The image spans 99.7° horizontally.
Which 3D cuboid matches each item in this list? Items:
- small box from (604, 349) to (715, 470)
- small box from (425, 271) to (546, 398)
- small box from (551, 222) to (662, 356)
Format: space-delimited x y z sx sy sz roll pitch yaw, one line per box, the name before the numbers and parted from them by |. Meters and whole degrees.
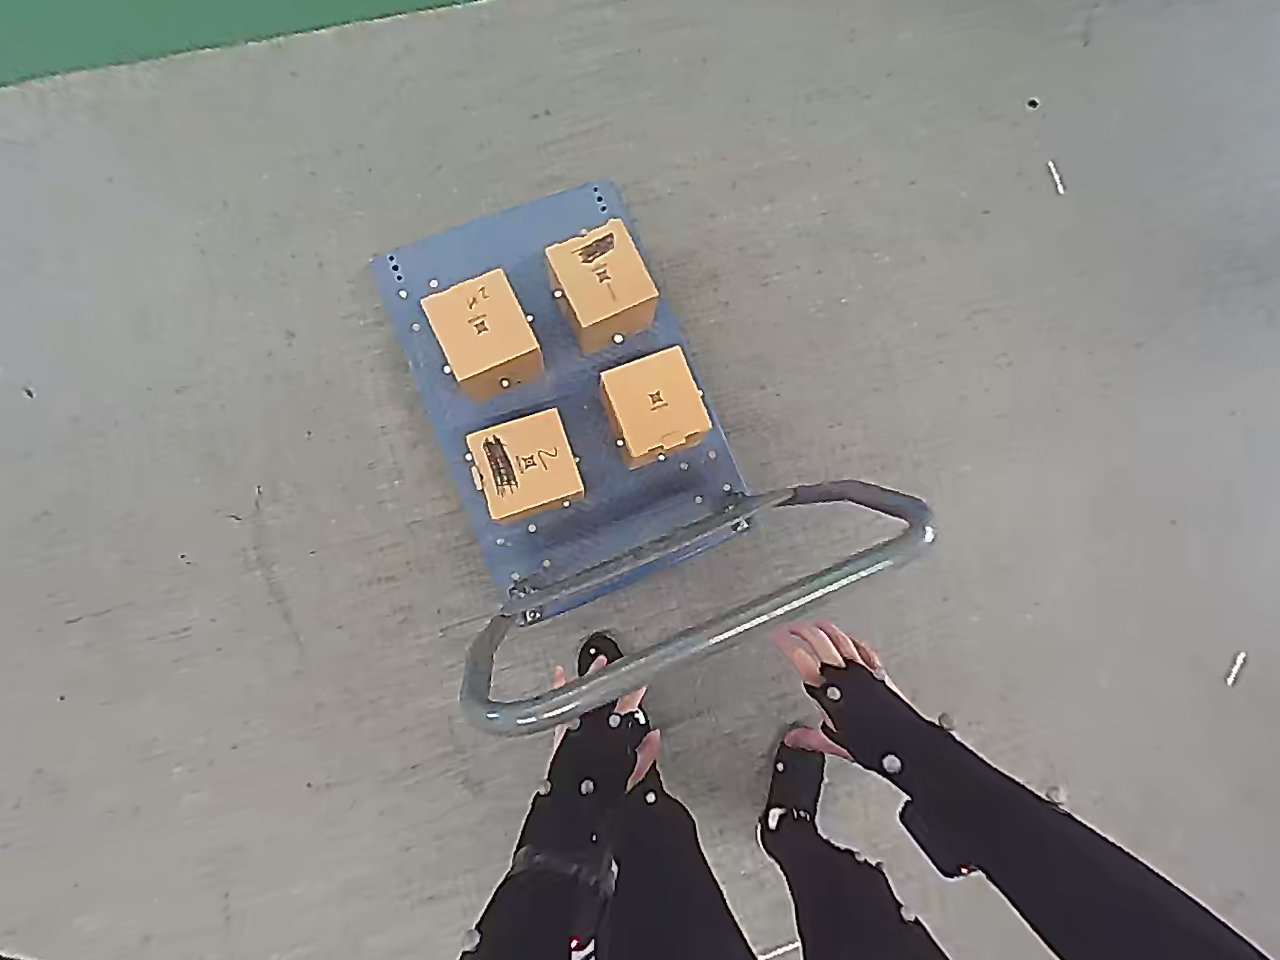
small box | 0.030 -0.136 1.099 0.168 0.176 0.179 -20 86 -7
small box | -0.298 -0.278 1.086 0.168 0.176 0.179 -25 86 -8
small box | -0.071 -0.386 1.118 0.168 0.176 0.179 -25 87 -6
